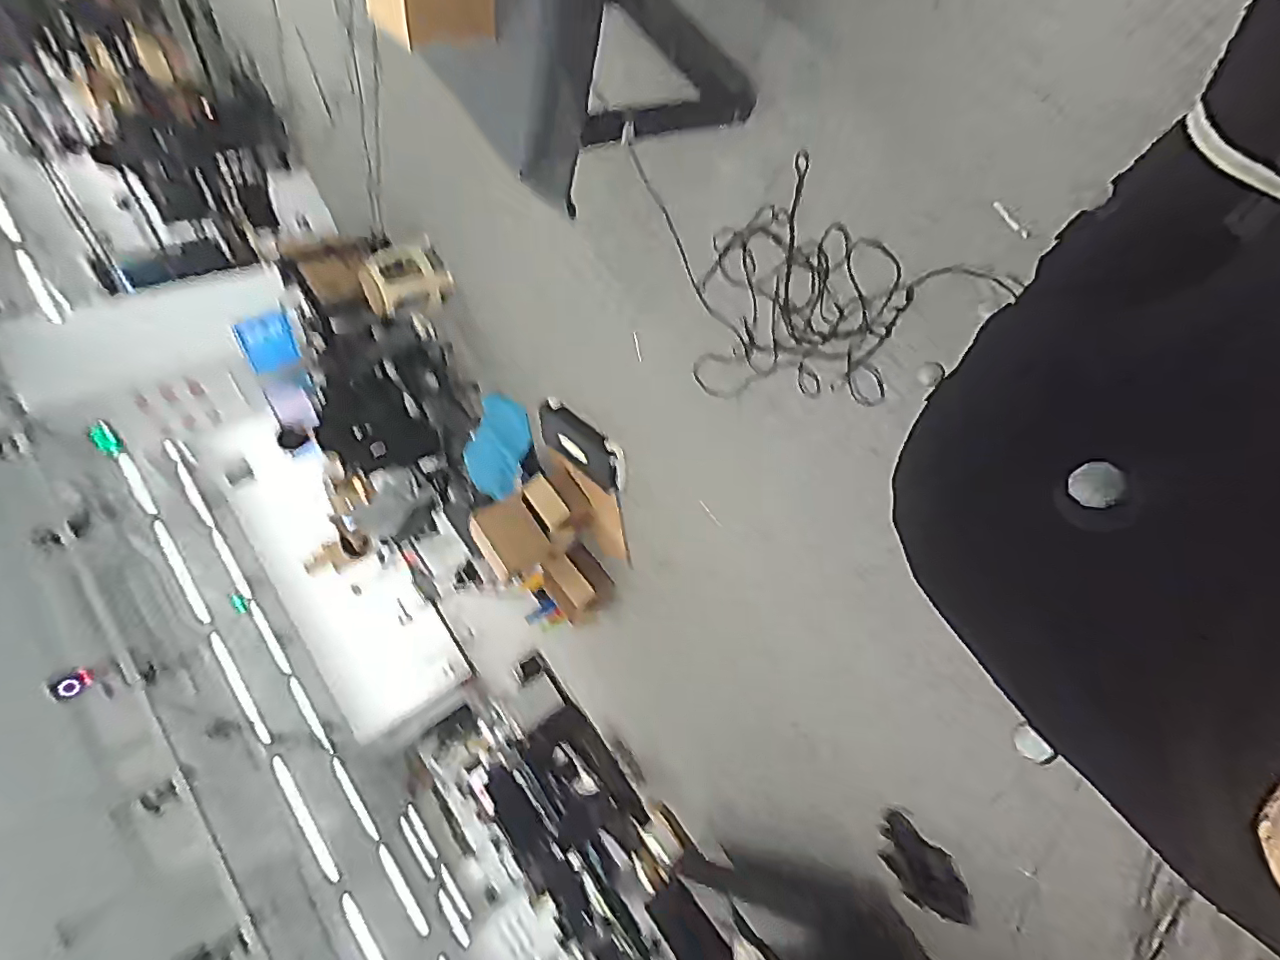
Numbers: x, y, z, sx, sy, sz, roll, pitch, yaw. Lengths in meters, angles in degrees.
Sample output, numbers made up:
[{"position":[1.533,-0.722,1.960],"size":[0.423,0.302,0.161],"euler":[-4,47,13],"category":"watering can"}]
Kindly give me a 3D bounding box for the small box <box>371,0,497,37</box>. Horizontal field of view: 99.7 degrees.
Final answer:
[{"position":[-0.351,-0.877,0.904],"size":[0.168,0.176,0.179],"euler":[48,147,22],"category":"small box"}]
